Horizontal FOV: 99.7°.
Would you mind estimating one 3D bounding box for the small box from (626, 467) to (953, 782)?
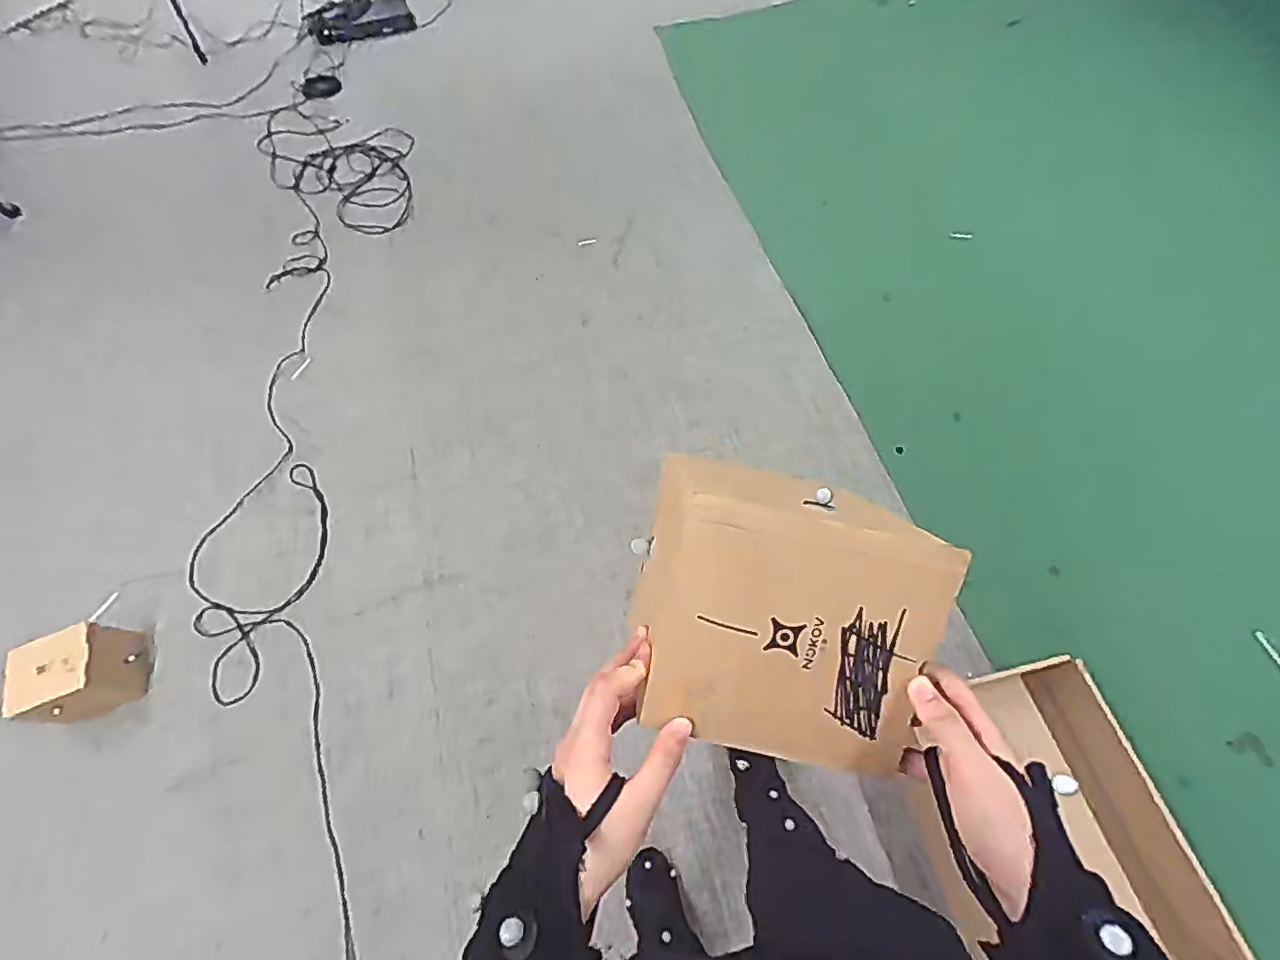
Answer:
[{"bbox_3d":[0.091,0.094,0.420,0.179,0.176,0.168,12,100,-4],"label":"small box"}]

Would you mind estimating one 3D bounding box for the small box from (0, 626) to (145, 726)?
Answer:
[{"bbox_3d":[-1.359,0.479,1.306,0.179,0.176,0.168,-22,65,-9],"label":"small box"}]
